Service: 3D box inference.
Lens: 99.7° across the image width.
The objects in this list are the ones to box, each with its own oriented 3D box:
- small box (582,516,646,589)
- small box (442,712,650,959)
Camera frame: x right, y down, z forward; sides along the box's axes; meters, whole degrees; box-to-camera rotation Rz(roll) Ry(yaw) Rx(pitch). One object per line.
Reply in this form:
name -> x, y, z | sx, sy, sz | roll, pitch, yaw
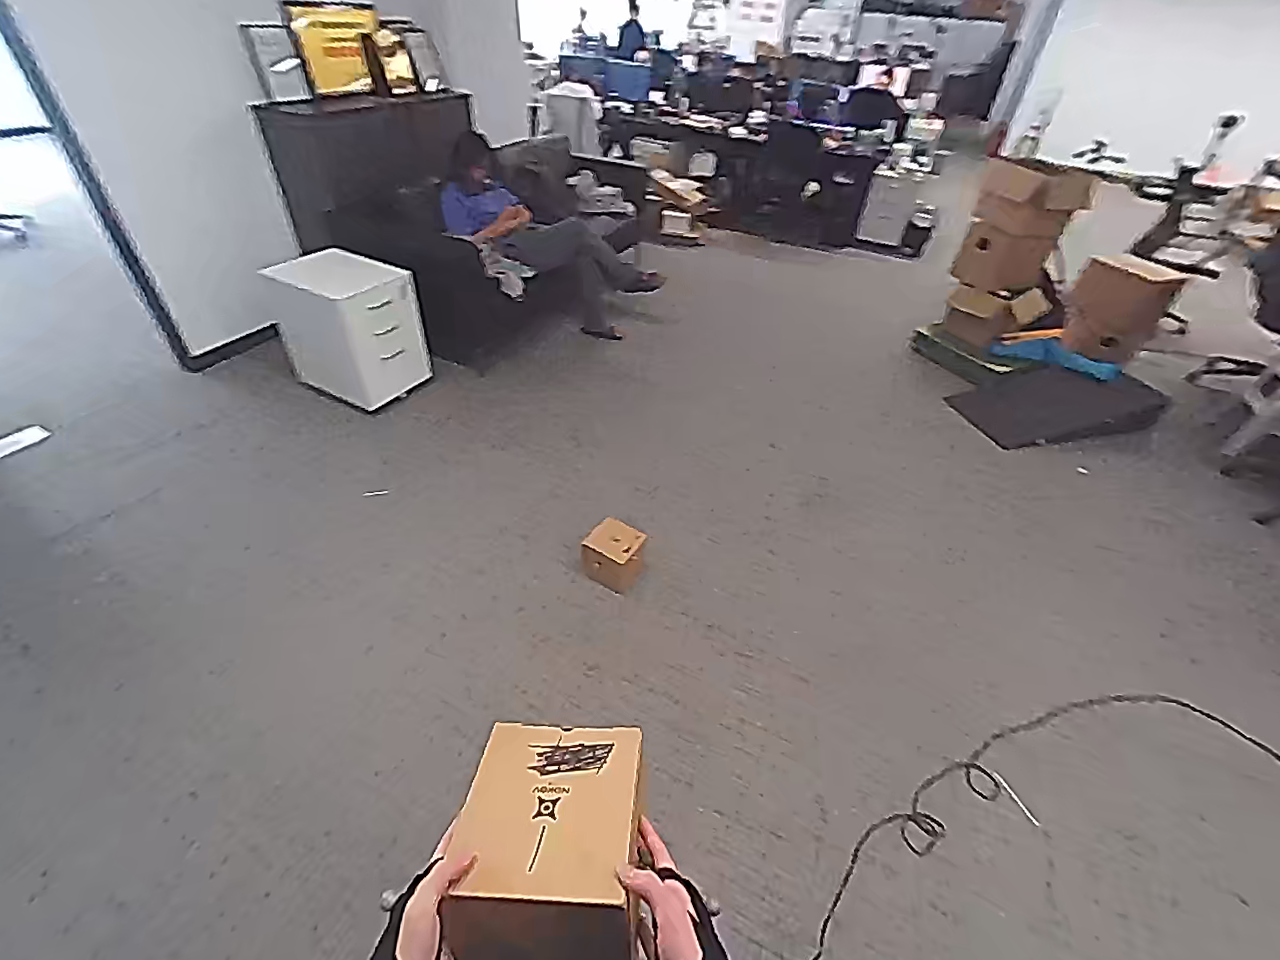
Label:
small box -> -0.097, 0.269, 1.974 | 0.179, 0.176, 0.168 | 24, 43, 22
small box -> -0.079, 0.372, 0.557 | 0.168, 0.176, 0.179 | 0, 24, 6
